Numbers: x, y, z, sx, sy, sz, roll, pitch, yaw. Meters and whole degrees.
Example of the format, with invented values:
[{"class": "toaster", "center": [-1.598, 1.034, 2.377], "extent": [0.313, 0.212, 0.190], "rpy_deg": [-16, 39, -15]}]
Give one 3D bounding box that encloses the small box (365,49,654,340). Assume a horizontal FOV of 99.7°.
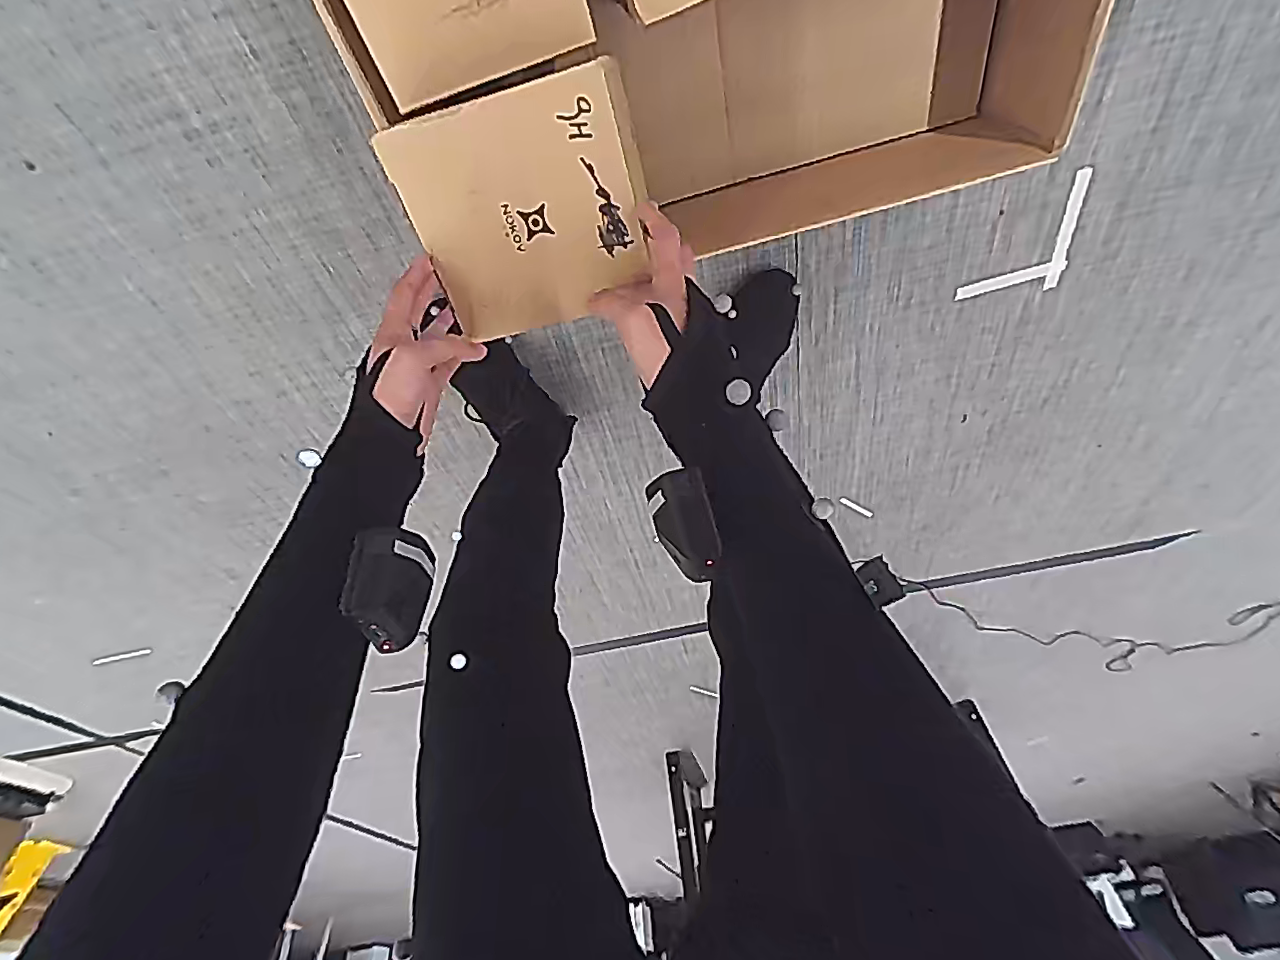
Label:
[{"class": "small box", "center": [-0.089, -0.248, 0.471], "extent": [0.179, 0.176, 0.168], "rpy_deg": [-11, 130, 10]}]
